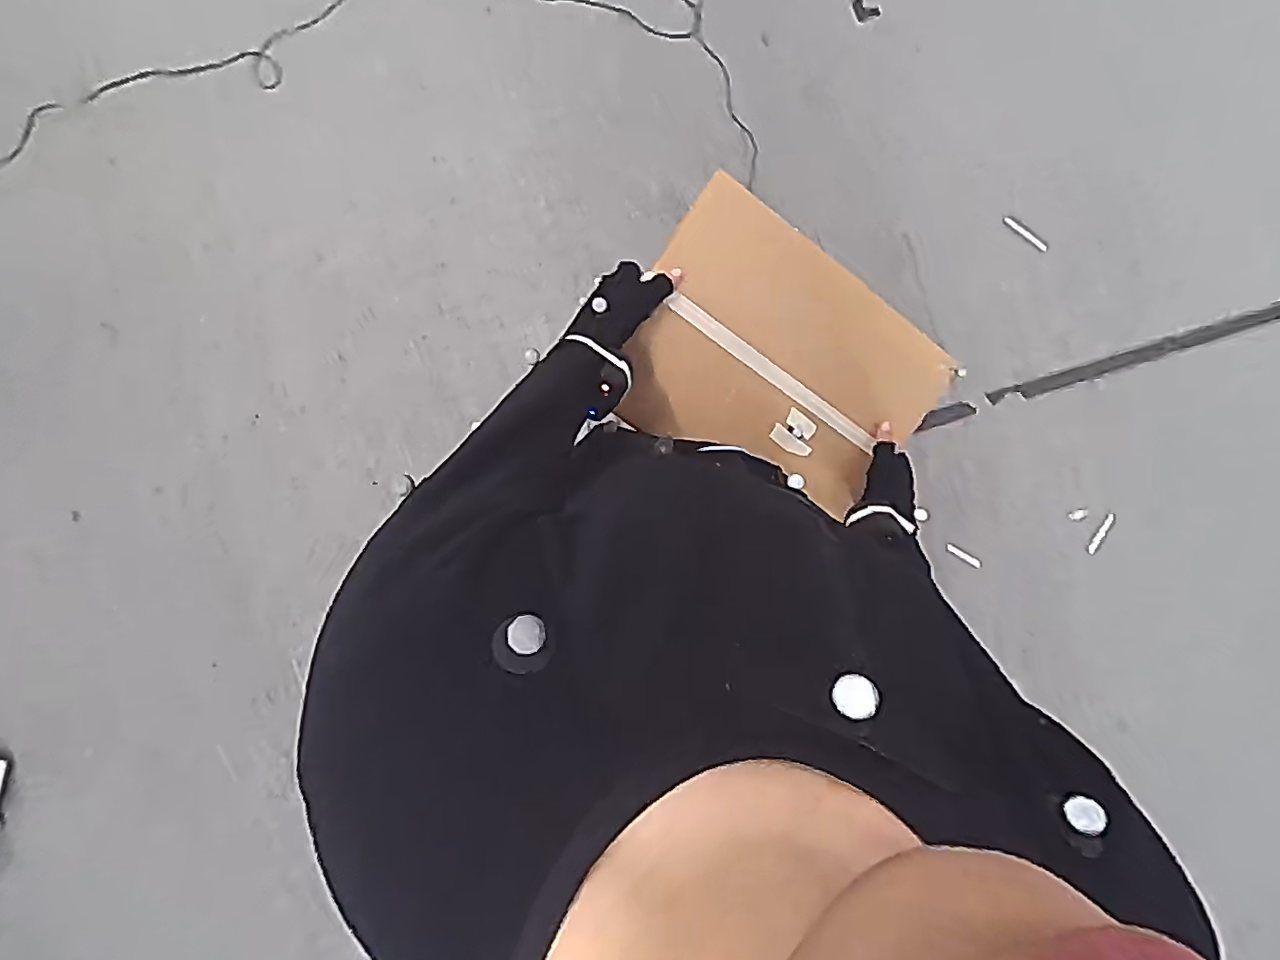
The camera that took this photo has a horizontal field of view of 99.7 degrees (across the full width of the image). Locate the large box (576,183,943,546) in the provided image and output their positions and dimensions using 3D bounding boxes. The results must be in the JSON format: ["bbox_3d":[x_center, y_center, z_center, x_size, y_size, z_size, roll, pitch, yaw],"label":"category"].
[{"bbox_3d":[0.147,-0.160,0.849,0.408,0.320,0.320,34,95,-11],"label":"large box"}]
